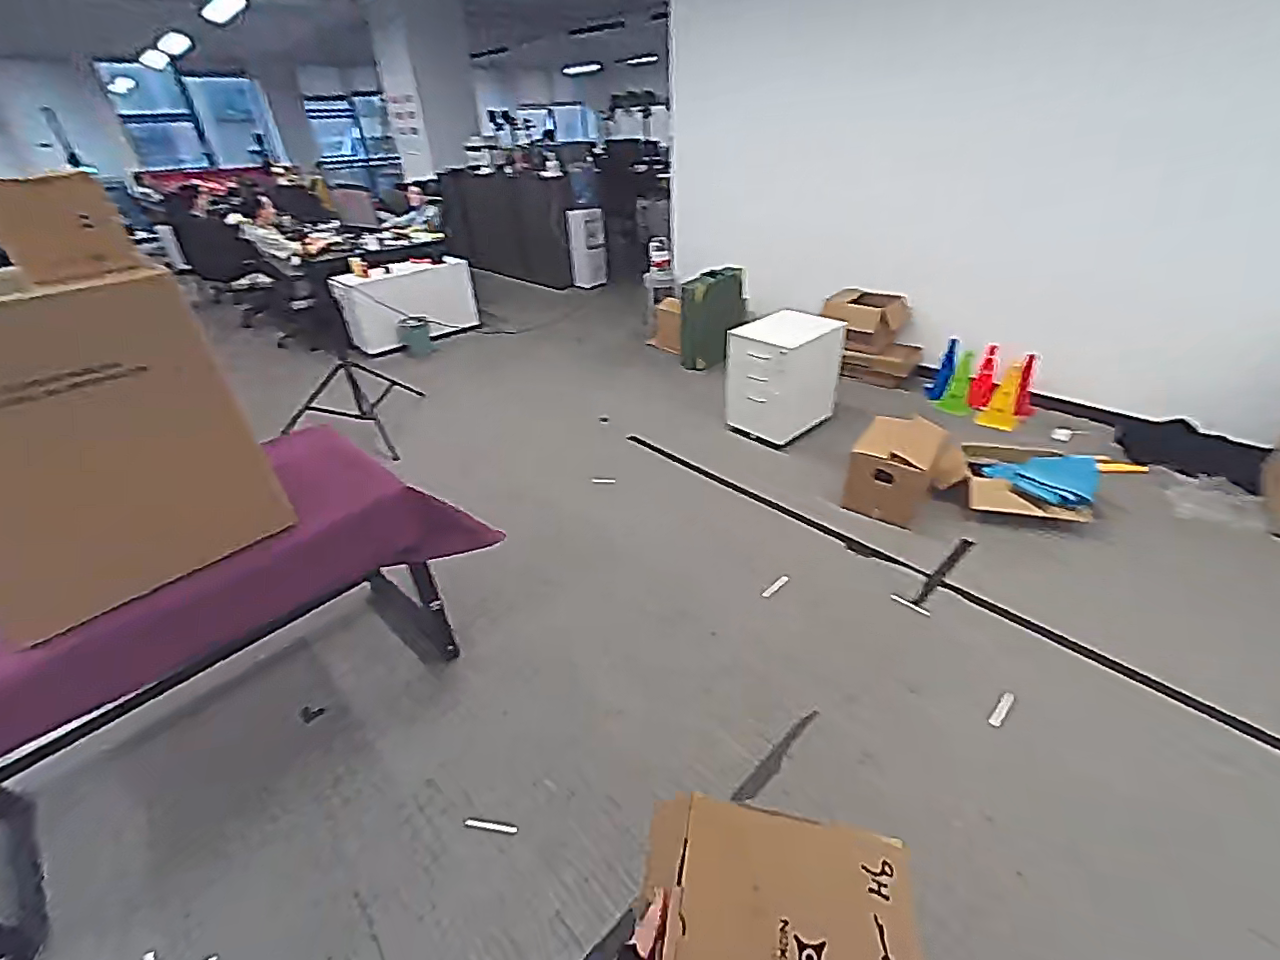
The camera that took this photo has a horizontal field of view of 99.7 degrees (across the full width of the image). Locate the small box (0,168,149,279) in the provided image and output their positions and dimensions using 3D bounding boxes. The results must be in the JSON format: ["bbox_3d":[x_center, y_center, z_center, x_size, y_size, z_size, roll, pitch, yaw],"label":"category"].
[{"bbox_3d":[-1.092,-0.490,1.034,0.179,0.176,0.168,24,41,34],"label":"small box"}]
